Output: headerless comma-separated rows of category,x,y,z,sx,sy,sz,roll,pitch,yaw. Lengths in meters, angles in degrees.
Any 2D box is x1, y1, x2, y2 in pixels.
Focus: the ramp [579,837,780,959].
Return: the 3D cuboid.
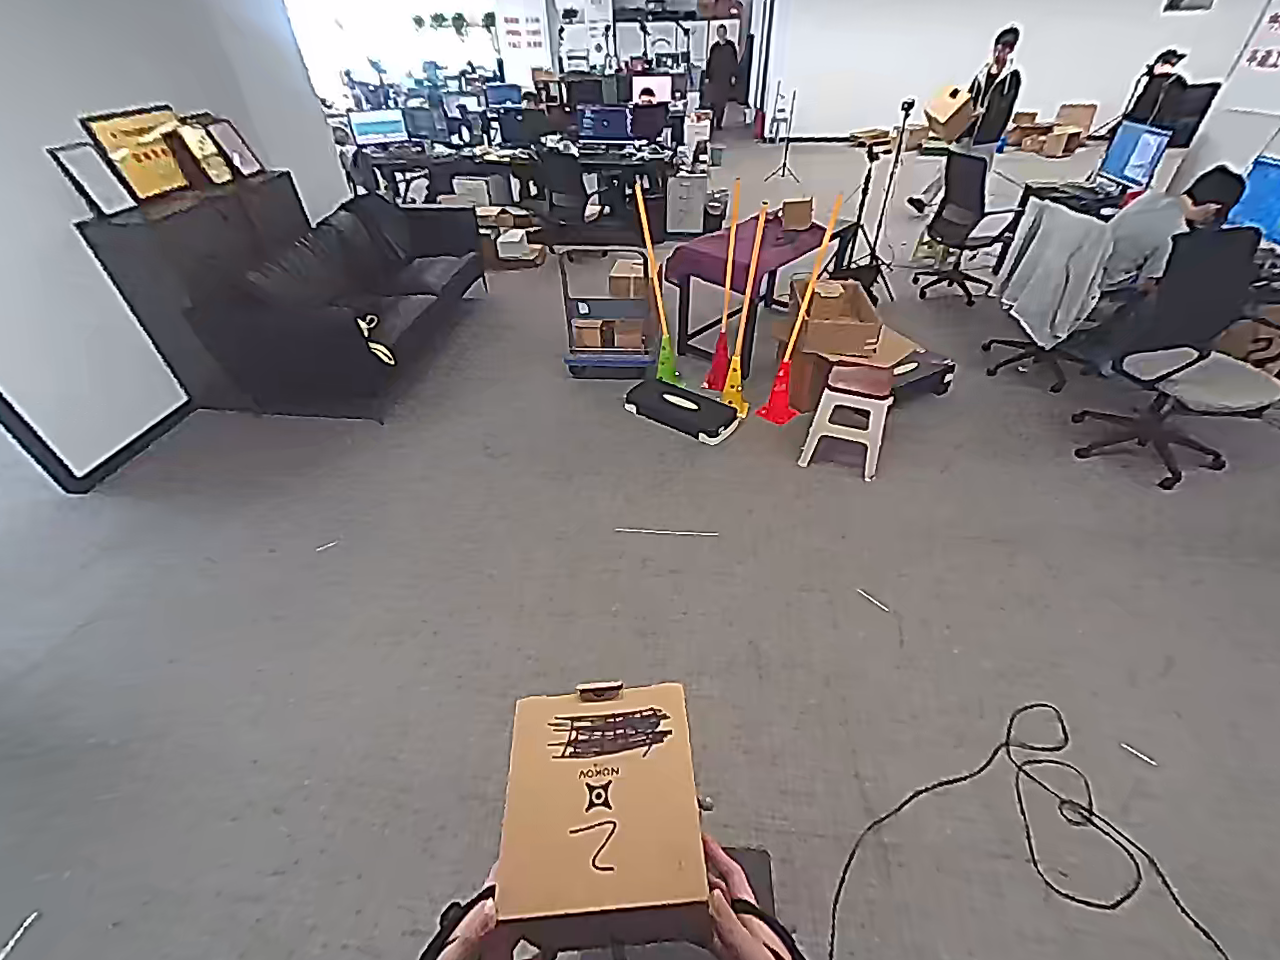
ramp,0.072,1.283,1.107,0.509,0.206,0.991,1,40,4
